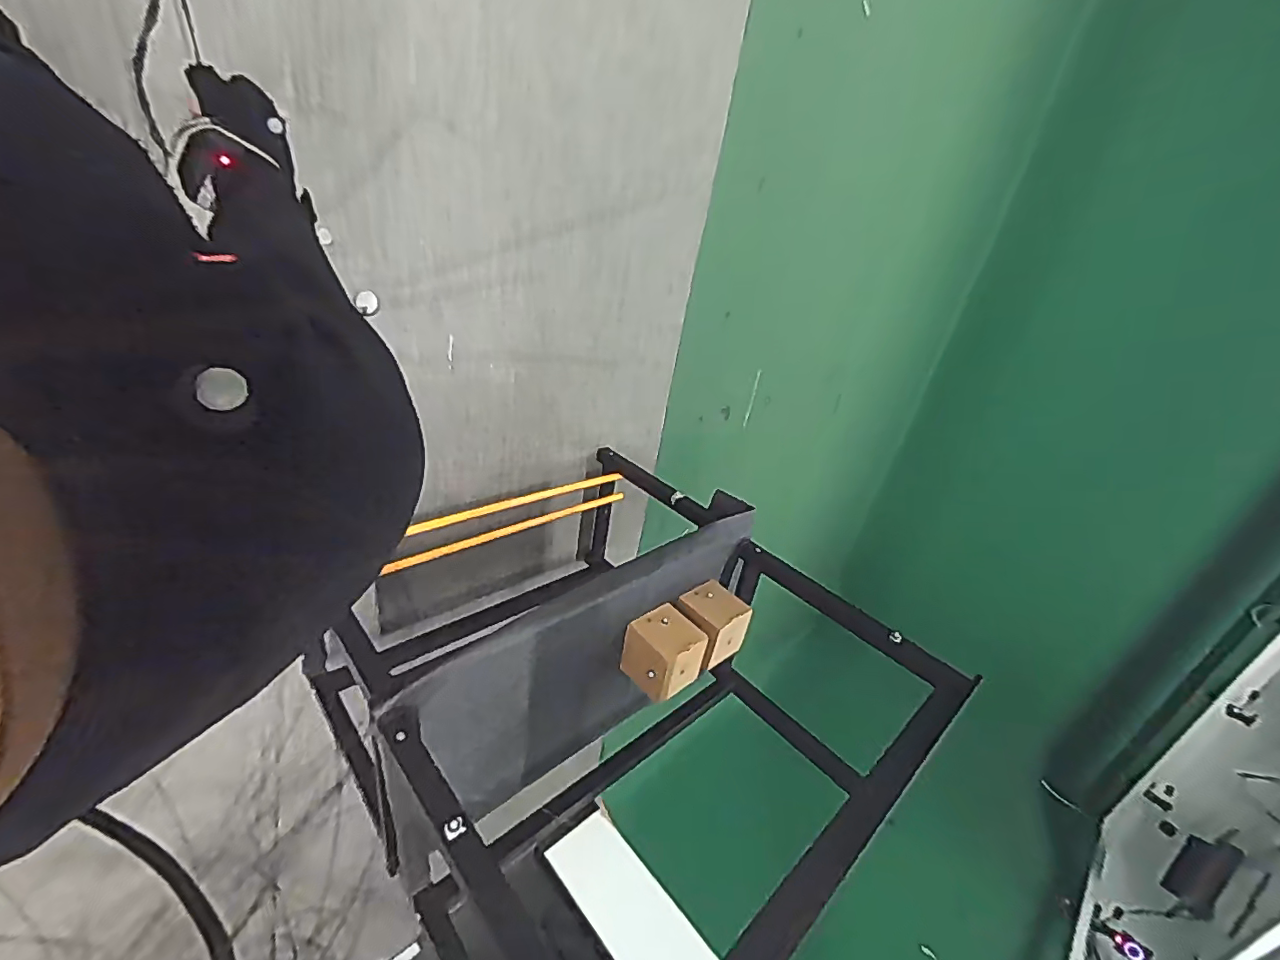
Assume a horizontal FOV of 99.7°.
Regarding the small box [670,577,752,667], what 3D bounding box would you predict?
[{"bbox_3d":[0.215,0.435,1.681,0.168,0.176,0.179,-16,128,-41],"label":"small box"}]
